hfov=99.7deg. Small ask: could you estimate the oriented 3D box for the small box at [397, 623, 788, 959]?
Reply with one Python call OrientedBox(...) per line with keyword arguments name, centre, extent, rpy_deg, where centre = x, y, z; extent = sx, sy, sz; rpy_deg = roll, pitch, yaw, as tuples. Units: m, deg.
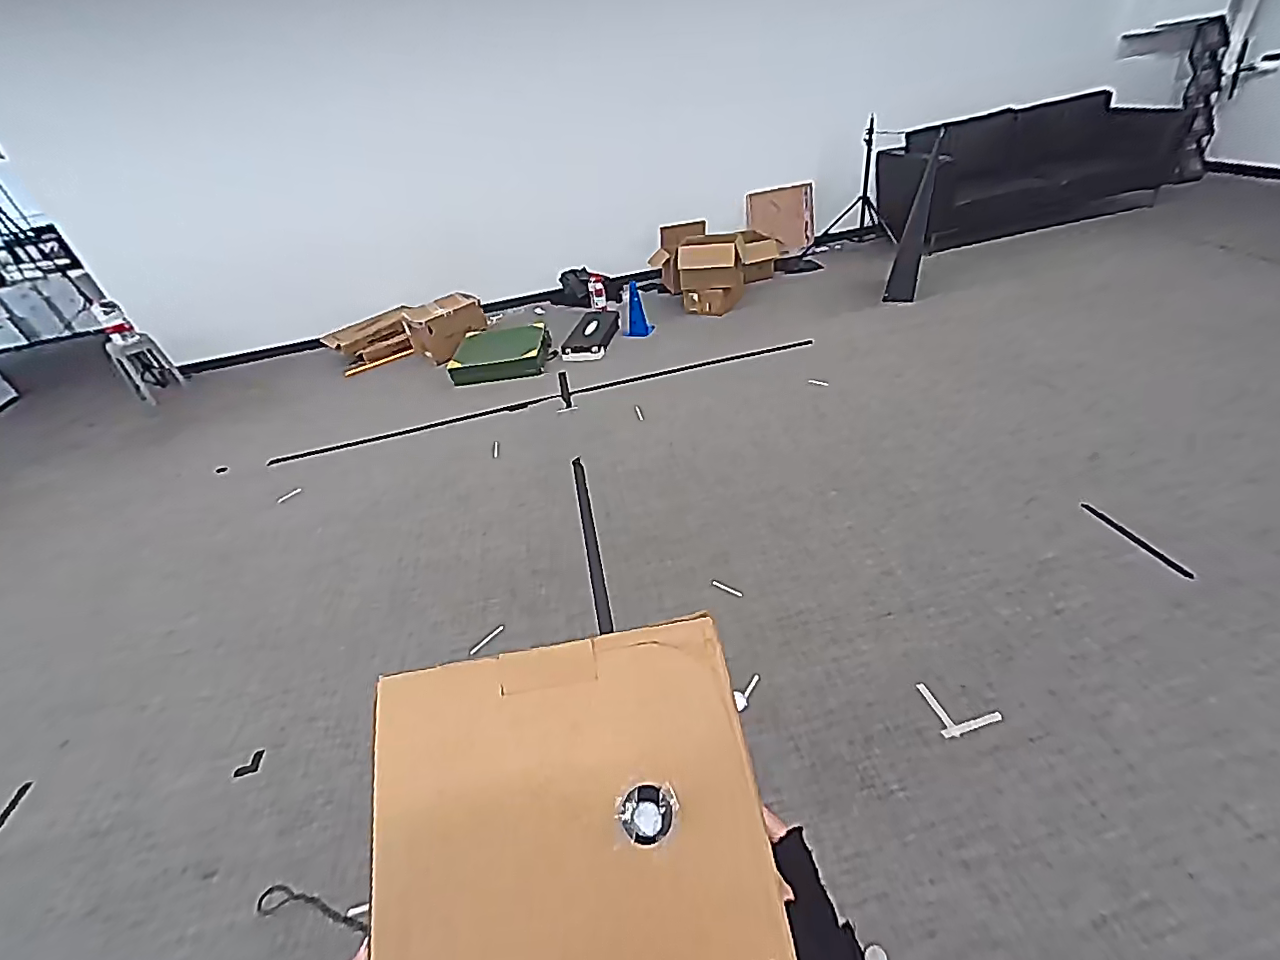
OrientedBox(name="small box", centre=(-0.022, 0.195, 0.318), extent=(0.168, 0.179, 0.176), rpy_deg=(-10, 66, 0))
